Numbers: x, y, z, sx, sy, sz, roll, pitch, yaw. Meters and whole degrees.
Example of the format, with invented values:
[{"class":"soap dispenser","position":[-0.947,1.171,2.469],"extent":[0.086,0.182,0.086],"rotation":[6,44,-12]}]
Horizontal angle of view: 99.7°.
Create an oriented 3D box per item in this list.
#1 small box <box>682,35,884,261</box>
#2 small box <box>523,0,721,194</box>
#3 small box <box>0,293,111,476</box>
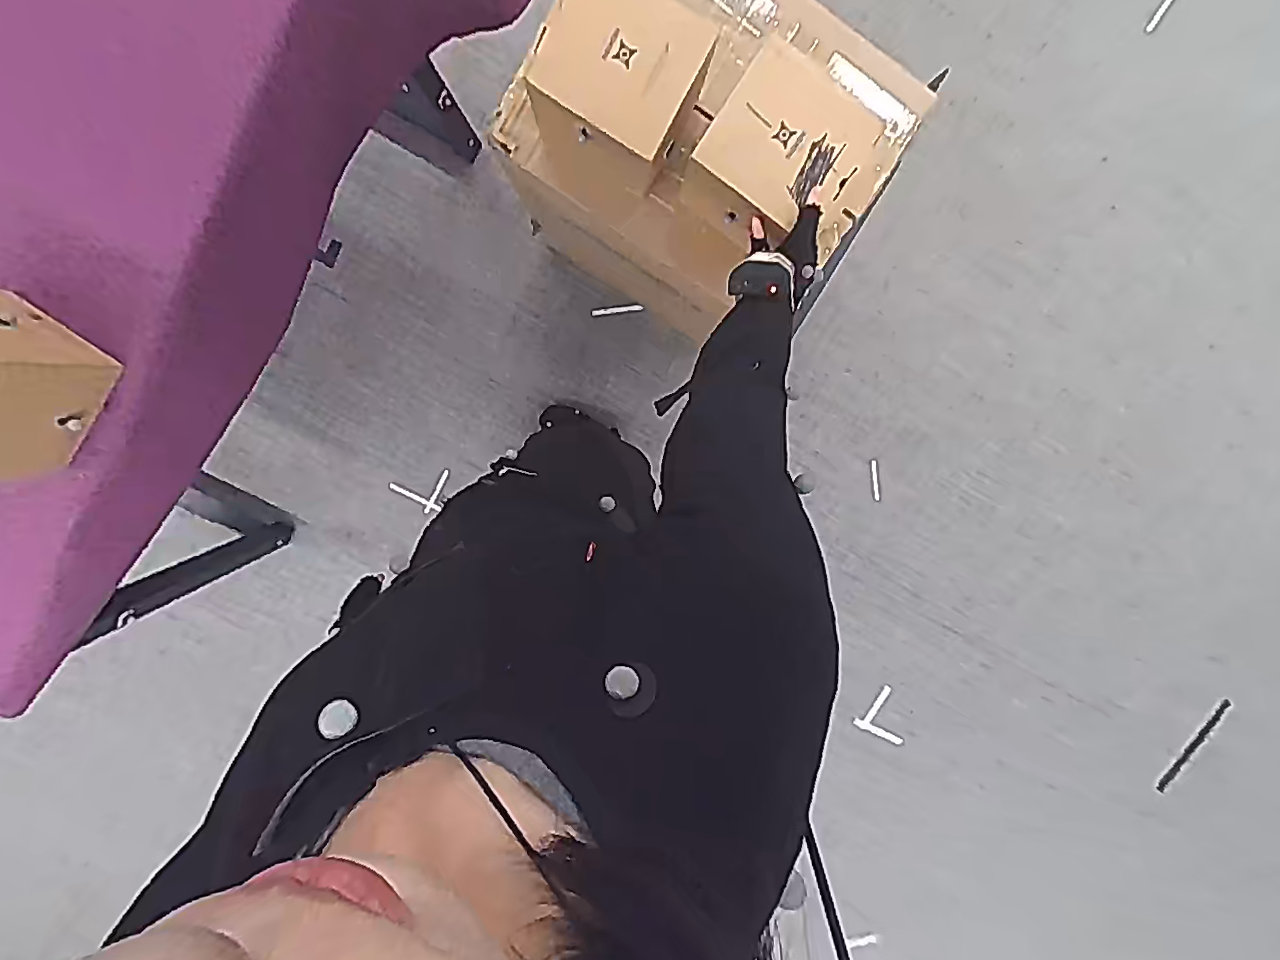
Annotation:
[{"class":"small box","position":[0.175,-0.417,0.721],"extent":[0.179,0.176,0.168],"rotation":[35,98,-6]},{"class":"small box","position":[-0.025,-0.506,0.699],"extent":[0.179,0.176,0.168],"rotation":[30,99,-9]},{"class":"small box","position":[-0.792,-0.117,0.631],"extent":[0.168,0.176,0.179],"rotation":[36,96,-7]}]
